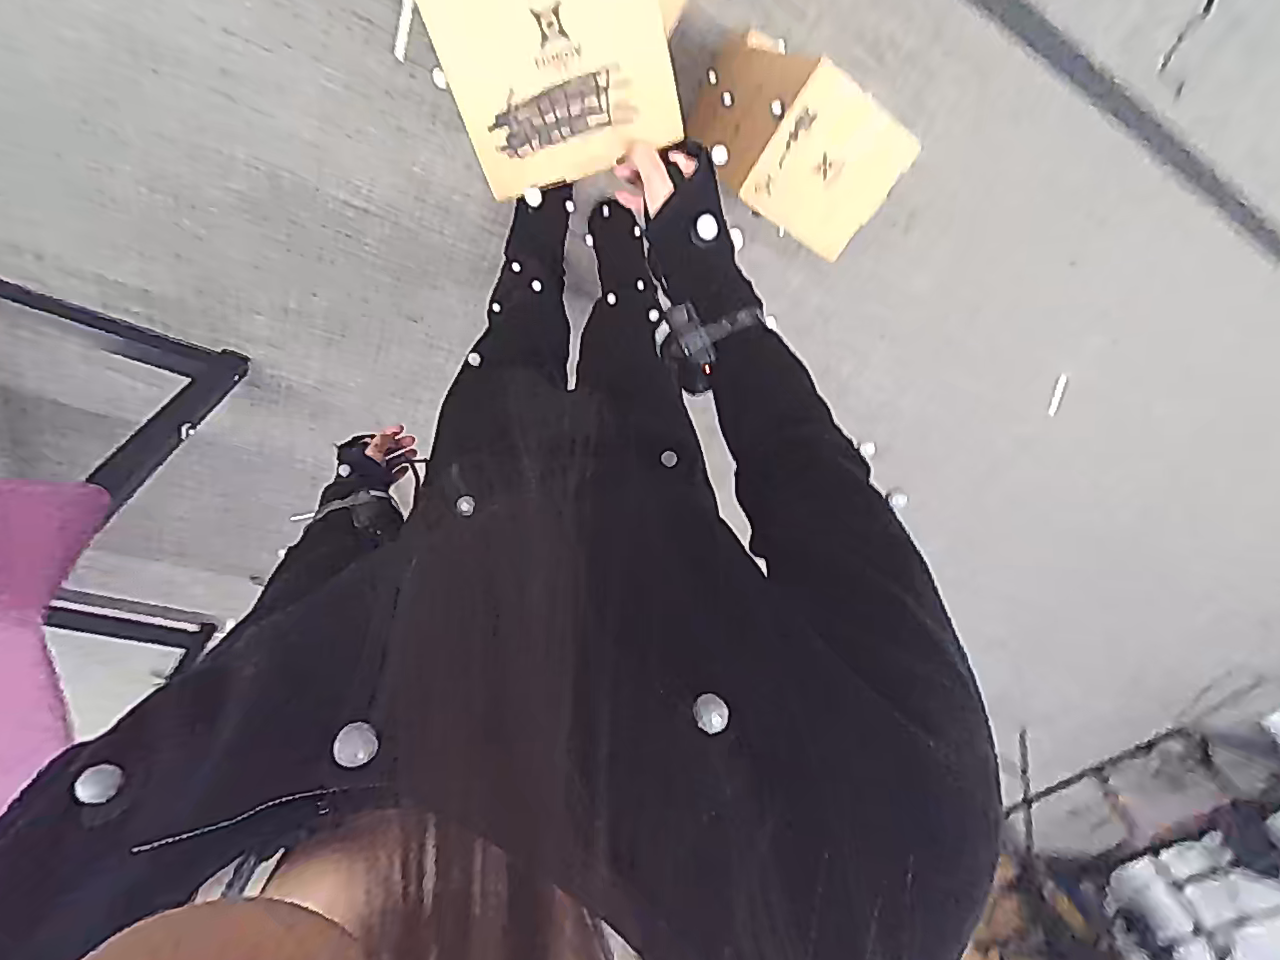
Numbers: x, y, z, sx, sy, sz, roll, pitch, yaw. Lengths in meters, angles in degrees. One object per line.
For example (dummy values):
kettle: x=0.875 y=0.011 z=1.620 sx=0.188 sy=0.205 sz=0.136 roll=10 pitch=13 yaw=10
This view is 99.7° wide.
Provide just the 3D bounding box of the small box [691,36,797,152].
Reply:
small box: x=0.206 y=-0.660 z=0.980 sx=0.168 sy=0.176 sz=0.179 roll=17 pitch=125 yaw=-21

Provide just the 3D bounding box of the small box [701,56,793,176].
small box: x=0.218 y=-0.540 z=0.866 sx=0.179 sy=0.176 sz=0.168 roll=19 pitch=126 yaw=-23

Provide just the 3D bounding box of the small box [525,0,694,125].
small box: x=-0.047 y=-0.640 z=0.753 sx=0.168 sy=0.176 sz=0.179 roll=21 pitch=123 yaw=-25

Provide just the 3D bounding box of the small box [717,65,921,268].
small box: x=0.232 y=-0.432 z=0.743 sx=0.179 sy=0.176 sz=0.168 roll=22 pitch=124 yaw=-25
